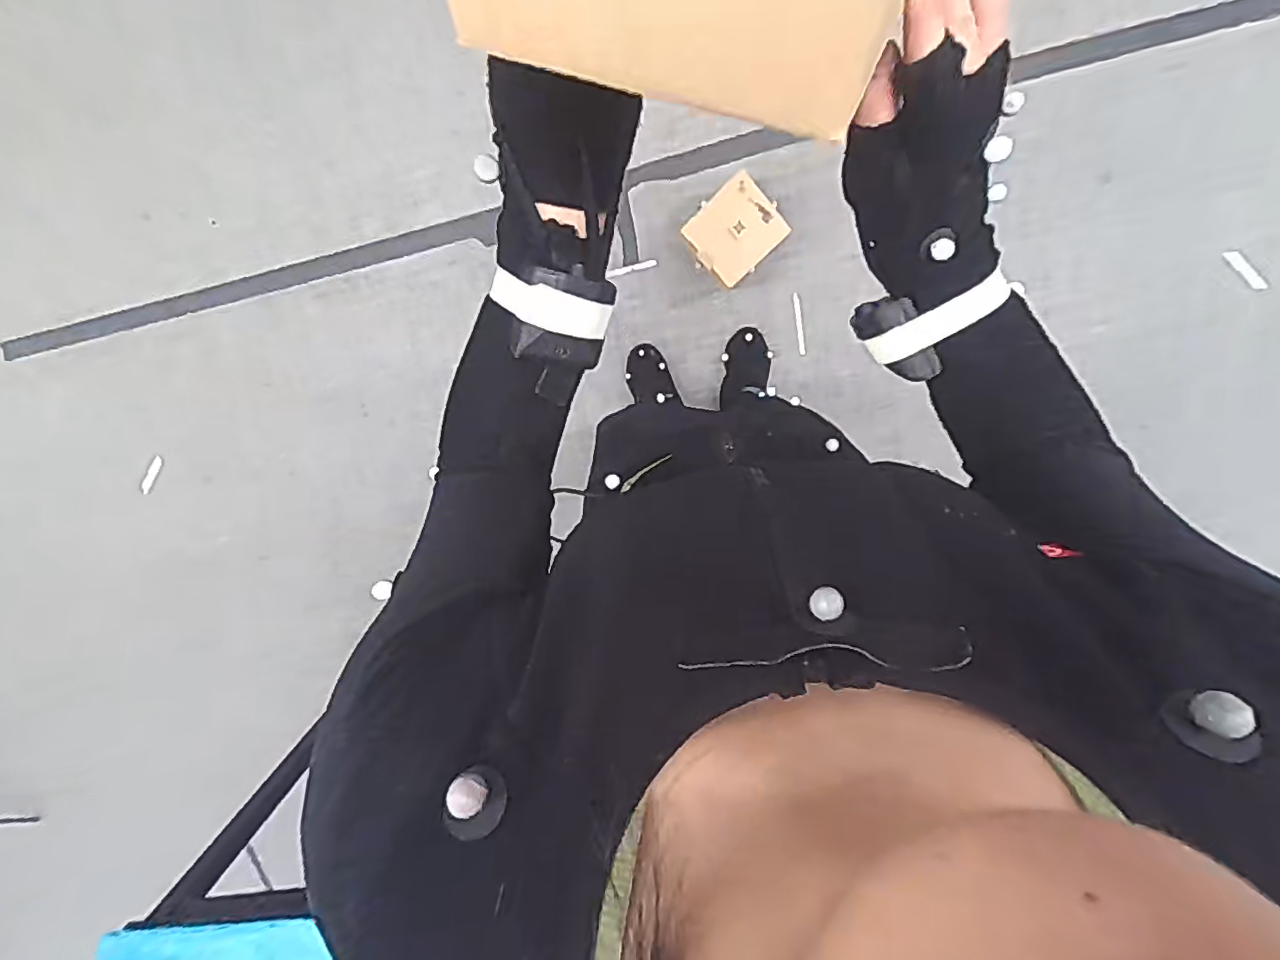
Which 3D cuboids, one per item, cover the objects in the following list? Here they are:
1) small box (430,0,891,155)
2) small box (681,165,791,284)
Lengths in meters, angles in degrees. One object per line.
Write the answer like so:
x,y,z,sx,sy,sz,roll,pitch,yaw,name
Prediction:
0.026,-0.251,0.164,0.168,0.176,0.179,22,70,11,small box
0.210,-0.563,1.224,0.168,0.176,0.179,44,105,-10,small box
